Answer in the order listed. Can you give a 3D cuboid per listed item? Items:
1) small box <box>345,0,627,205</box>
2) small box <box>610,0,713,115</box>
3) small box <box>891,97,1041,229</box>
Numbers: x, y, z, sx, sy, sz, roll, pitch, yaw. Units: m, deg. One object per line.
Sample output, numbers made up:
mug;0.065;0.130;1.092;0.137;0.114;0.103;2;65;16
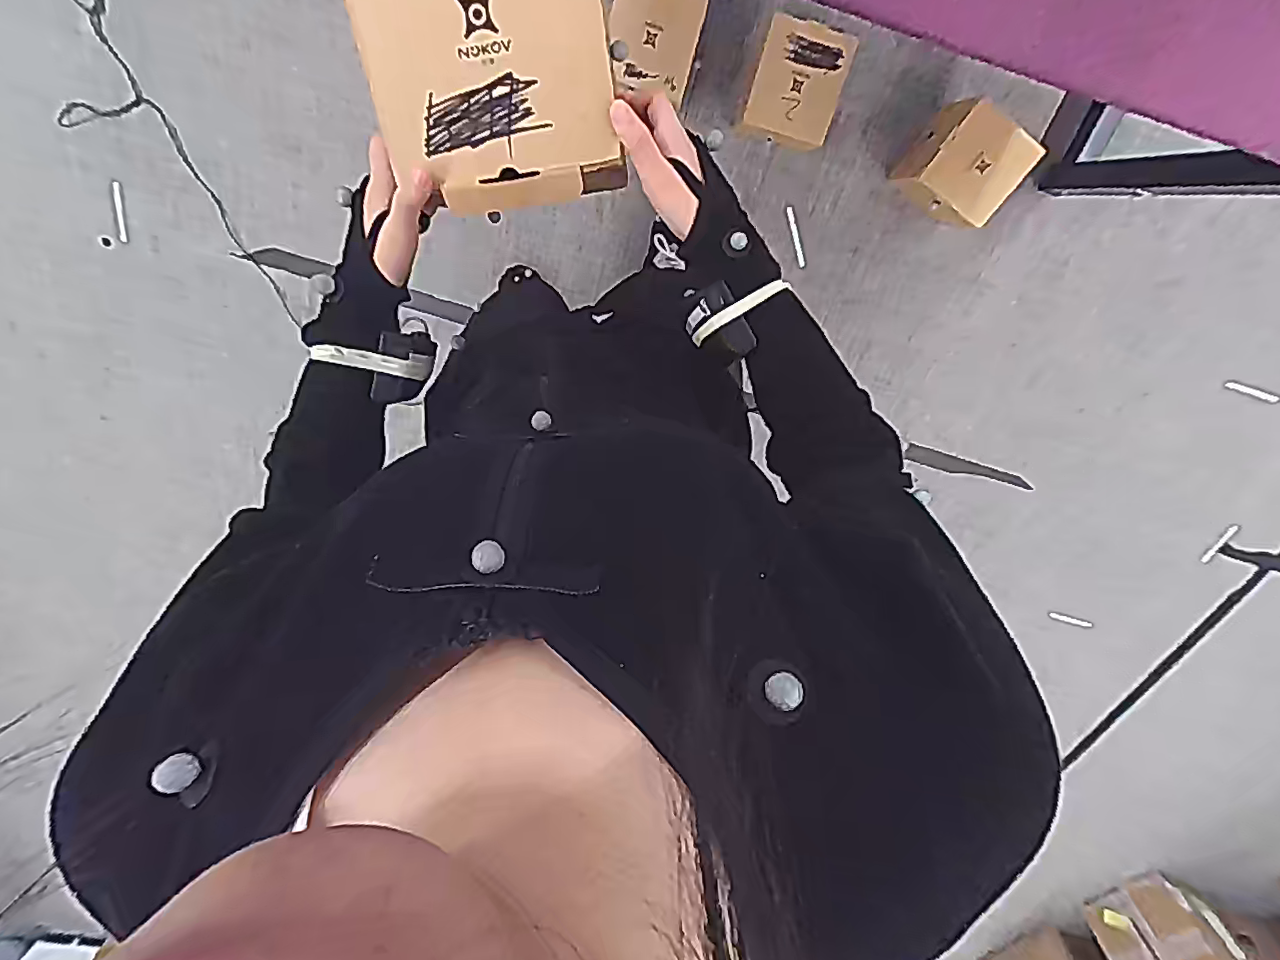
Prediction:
small box;-0.103;-0.324;0.426;0.168;0.176;0.179;-8;112;3
small box;0.028;-0.849;1.053;0.168;0.176;0.179;17;116;-7
small box;0.669;-0.656;1.131;0.179;0.176;0.168;31;115;-12
